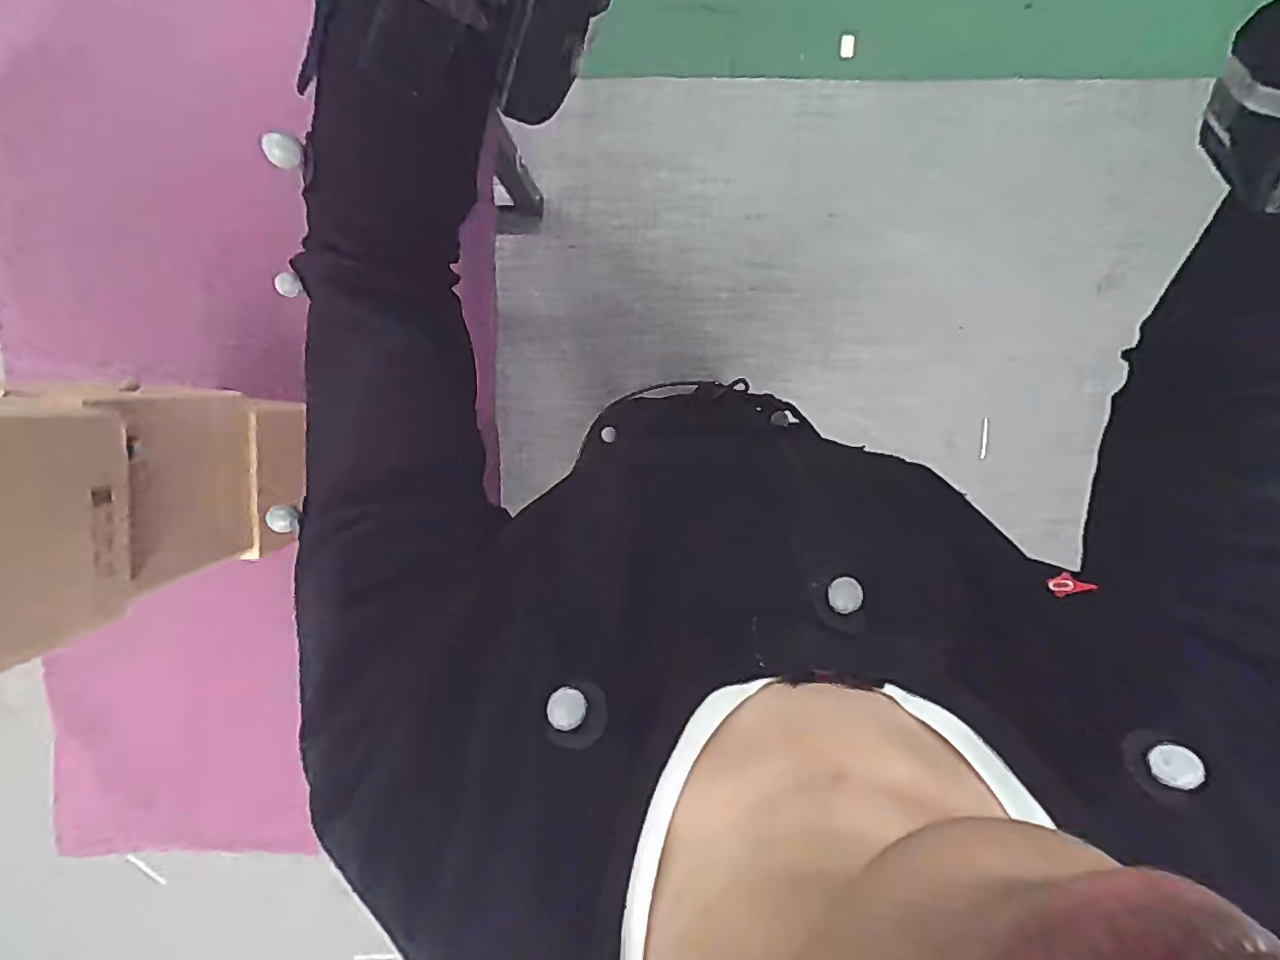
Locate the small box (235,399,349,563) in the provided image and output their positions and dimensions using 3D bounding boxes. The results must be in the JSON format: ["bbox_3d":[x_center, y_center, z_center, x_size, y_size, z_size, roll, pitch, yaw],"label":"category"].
[{"bbox_3d":[-0.487,-0.009,0.657,0.179,0.176,0.168,5,100,0],"label":"small box"}]

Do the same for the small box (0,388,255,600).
[{"bbox_3d":[-0.491,0.010,0.497,0.168,0.176,0.179,4,99,1],"label":"small box"}]

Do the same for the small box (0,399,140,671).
[{"bbox_3d":[-0.471,0.036,0.335,0.179,0.176,0.168,7,100,1],"label":"small box"}]
